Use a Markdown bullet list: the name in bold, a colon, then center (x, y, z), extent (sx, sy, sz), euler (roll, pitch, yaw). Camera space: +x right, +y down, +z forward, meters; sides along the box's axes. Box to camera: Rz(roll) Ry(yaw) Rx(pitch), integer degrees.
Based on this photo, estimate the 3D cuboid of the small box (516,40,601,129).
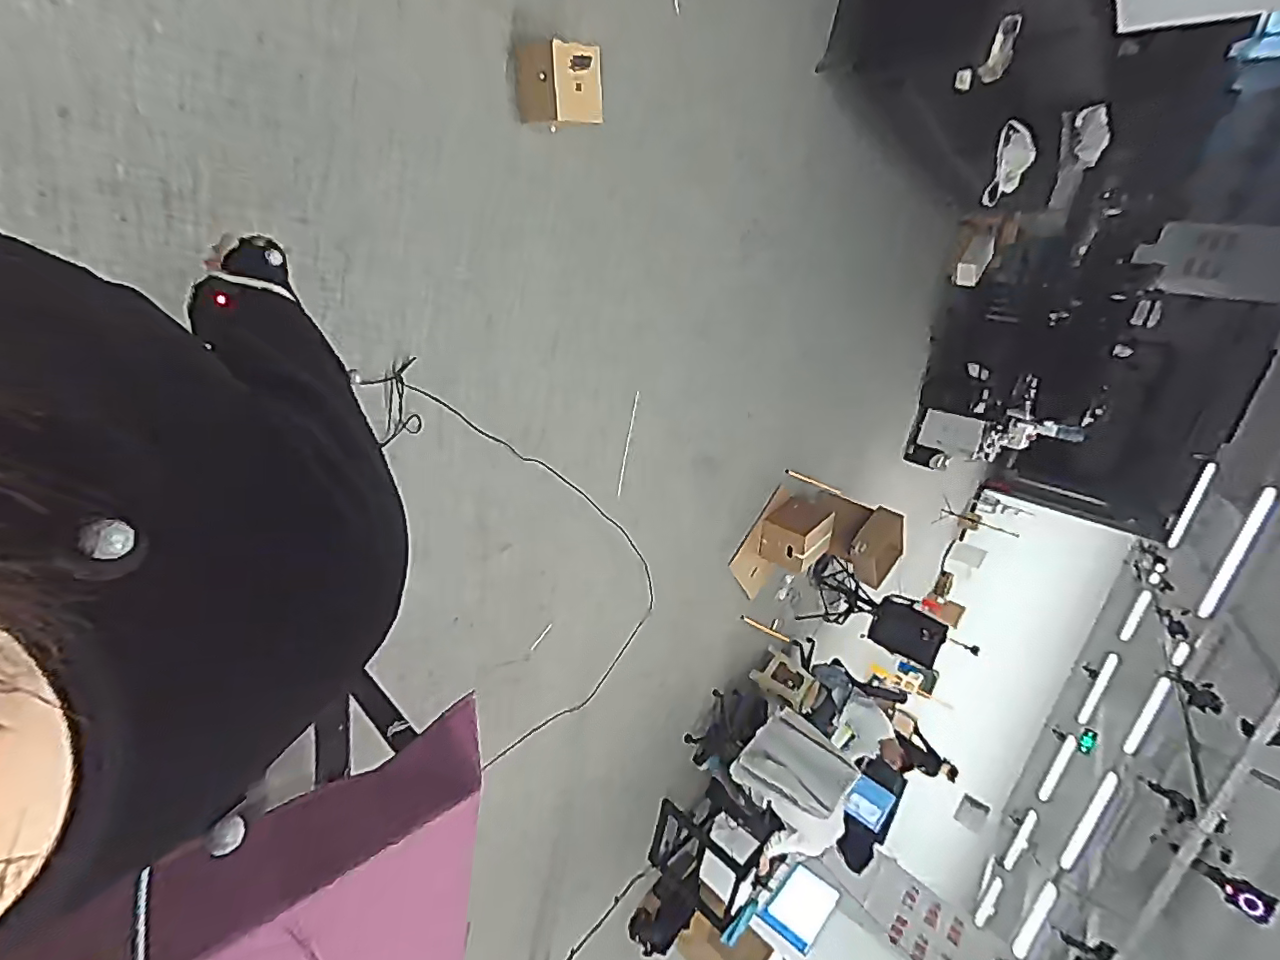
- **small box**: center (-0.228, -1.090, 1.502), extent (0.168, 0.176, 0.179), euler (-28, 129, -39)
